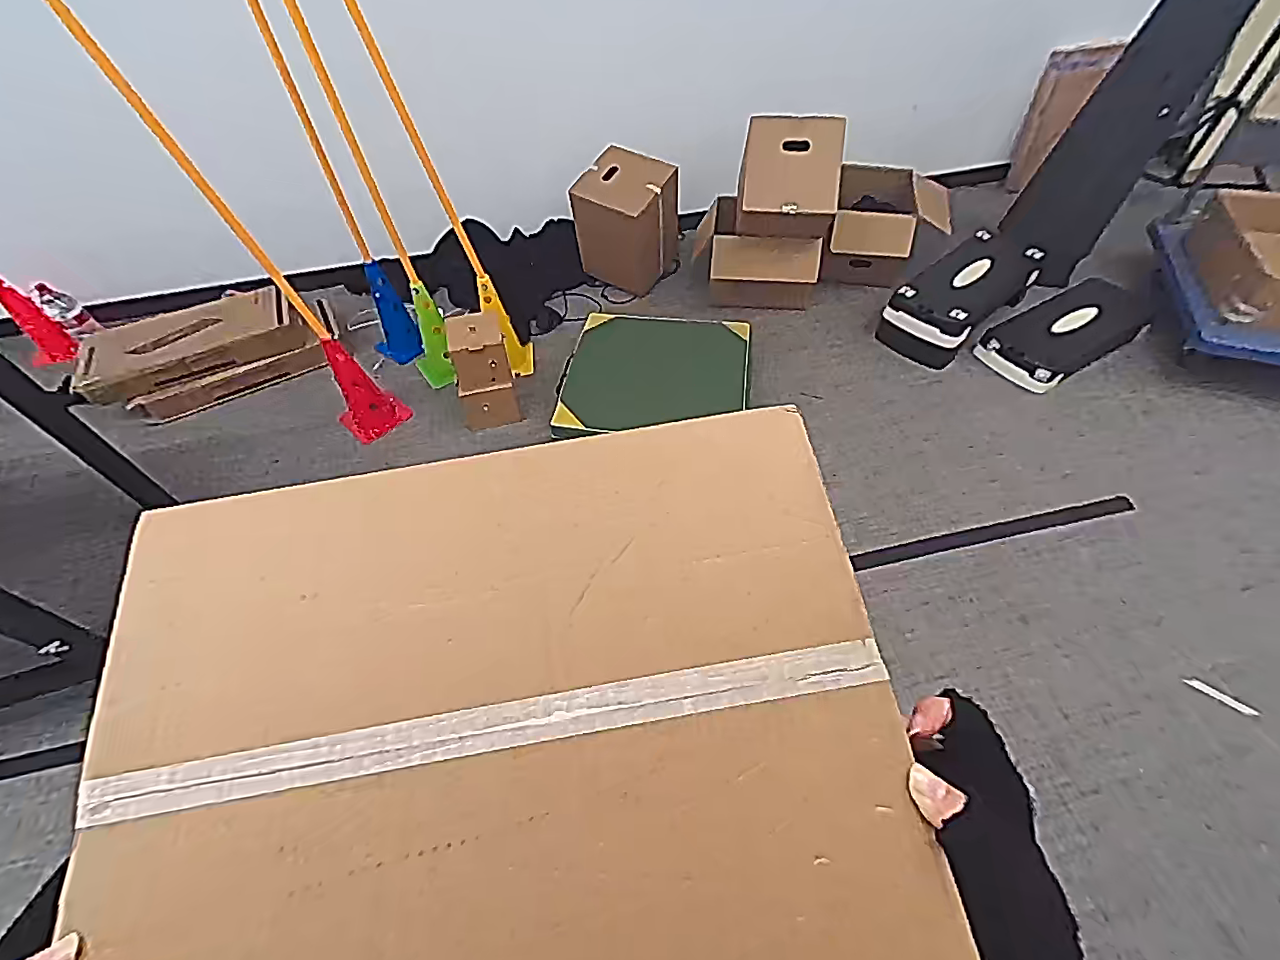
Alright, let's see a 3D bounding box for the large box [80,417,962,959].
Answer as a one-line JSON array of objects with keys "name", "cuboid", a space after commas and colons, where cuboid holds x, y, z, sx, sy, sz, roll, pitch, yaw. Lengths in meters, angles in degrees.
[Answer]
[{"name": "large box", "cuboid": [-0.070, 0.190, 0.421, 0.408, 0.320, 0.320, -10, 67, -1]}]
